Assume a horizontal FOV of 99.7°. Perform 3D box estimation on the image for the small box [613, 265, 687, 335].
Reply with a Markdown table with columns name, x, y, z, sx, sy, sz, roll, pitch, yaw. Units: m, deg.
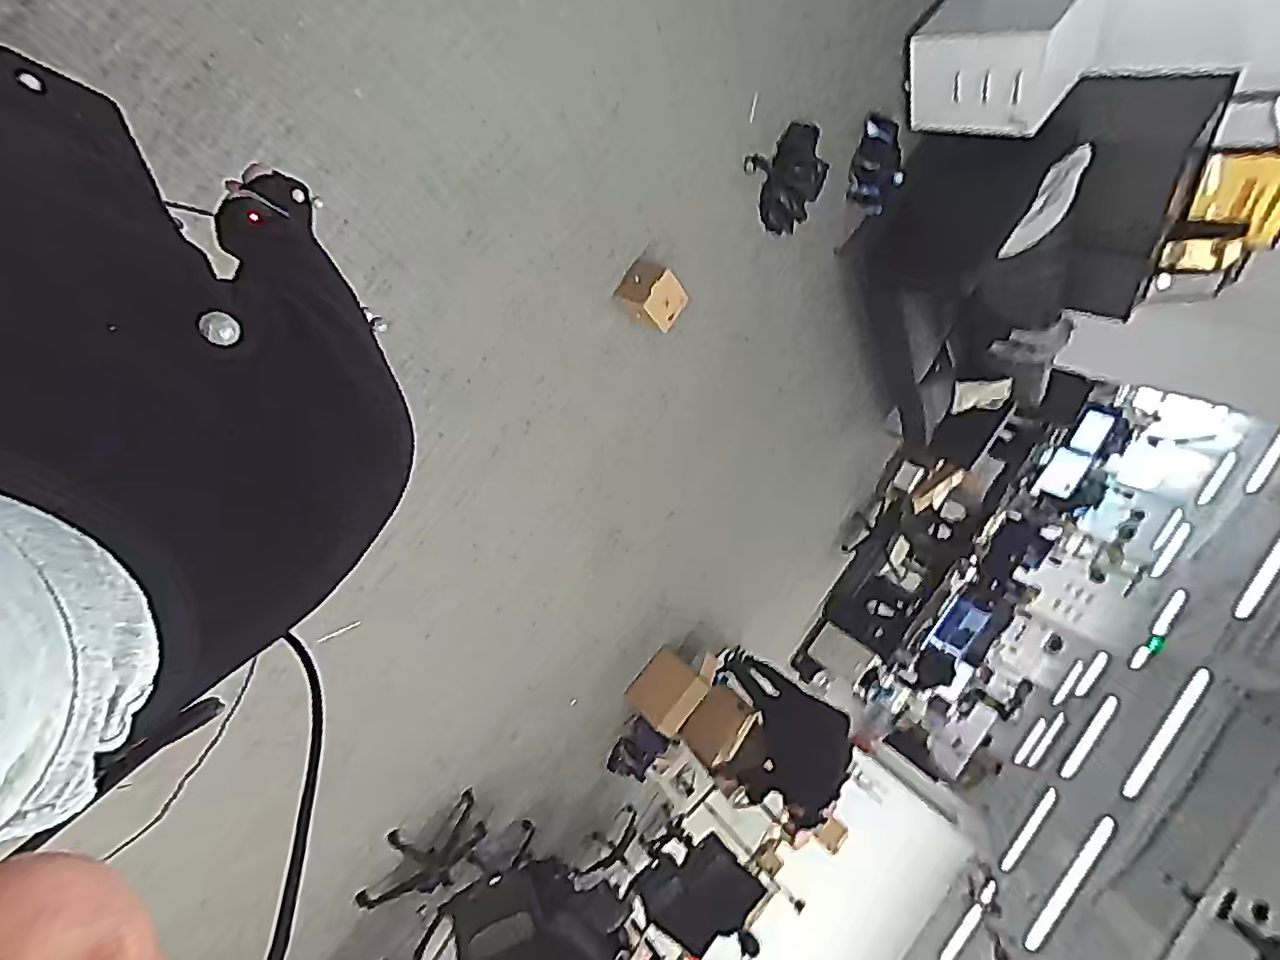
| name | x | y | z | sx | sy | sz | roll | pitch | yaw |
| --- | --- | --- | --- | --- | --- | --- | --- | --- | --- |
| small box | 0.034 | -0.665 | 1.984 | 0.168 | 0.176 | 0.179 | -56 | 142 | -2 |
